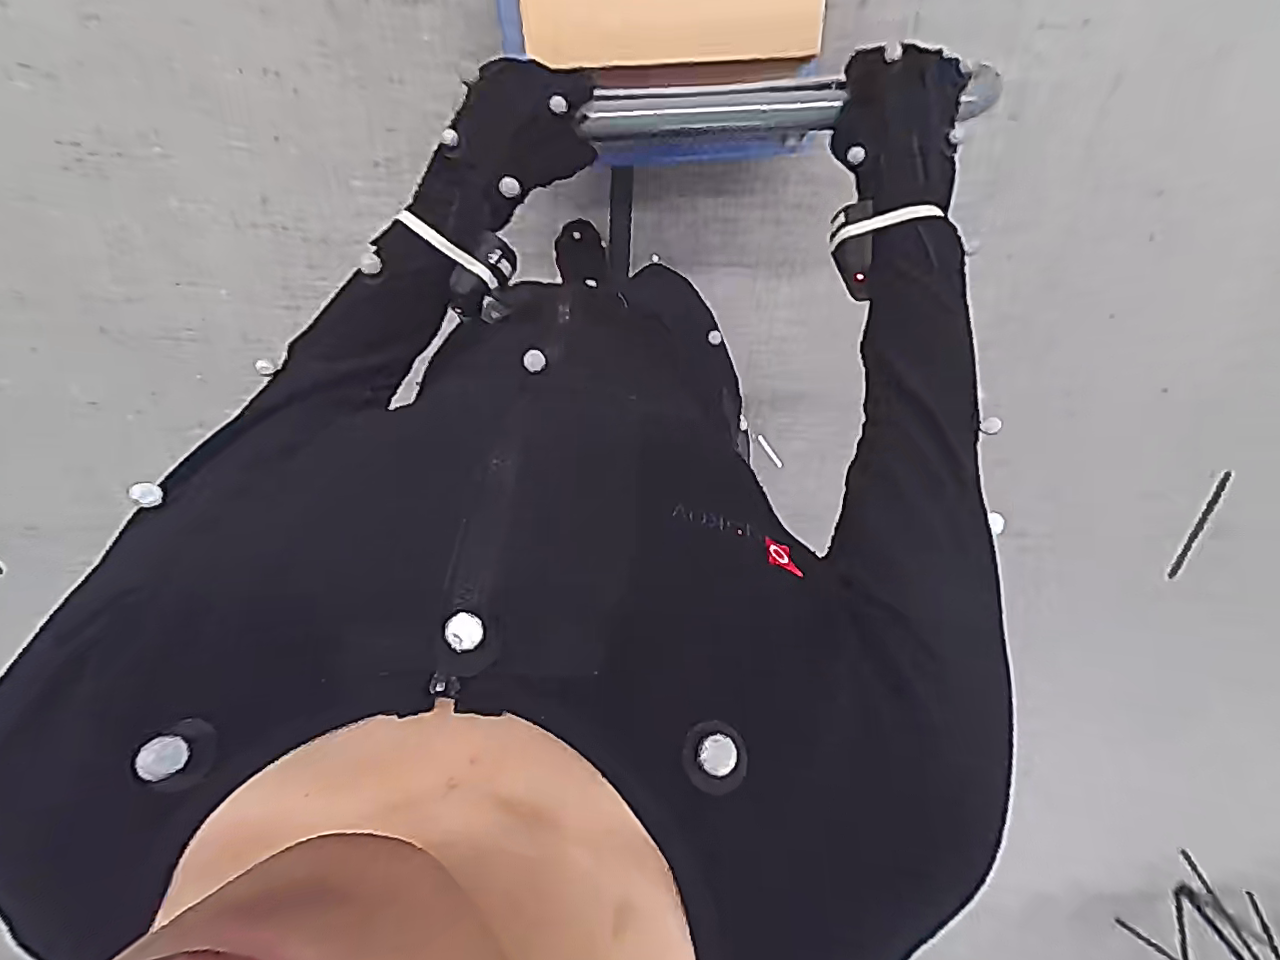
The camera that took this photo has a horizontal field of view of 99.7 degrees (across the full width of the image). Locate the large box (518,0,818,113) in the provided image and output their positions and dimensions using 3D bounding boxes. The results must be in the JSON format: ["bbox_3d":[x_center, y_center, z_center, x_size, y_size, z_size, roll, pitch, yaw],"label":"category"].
[{"bbox_3d":[0.025,-0.767,0.806,0.408,0.320,0.320,-4,118,-1],"label":"large box"}]
